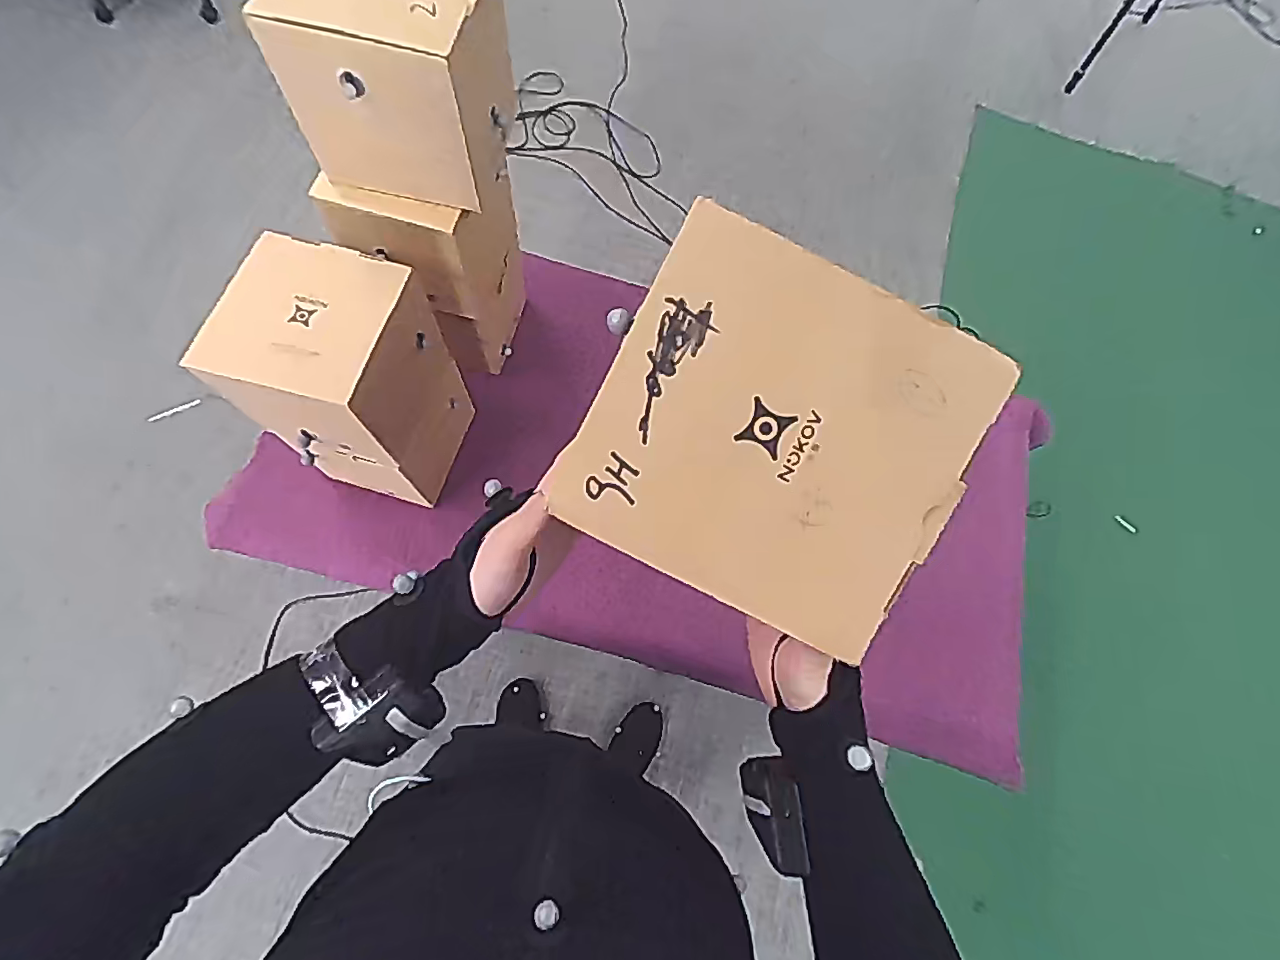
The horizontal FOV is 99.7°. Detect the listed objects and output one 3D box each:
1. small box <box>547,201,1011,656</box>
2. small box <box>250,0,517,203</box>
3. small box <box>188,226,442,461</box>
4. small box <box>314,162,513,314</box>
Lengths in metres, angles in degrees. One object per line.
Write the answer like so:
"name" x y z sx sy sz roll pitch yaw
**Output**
"small box" 0.066 -0.027 0.341 0.179 0.176 0.168 28 92 -3
"small box" -0.238 -0.420 0.557 0.179 0.176 0.168 11 70 -3
"small box" -0.346 -0.146 0.624 0.168 0.176 0.179 15 70 -1
"small box" -0.273 -0.347 0.703 0.168 0.176 0.179 14 70 -1
